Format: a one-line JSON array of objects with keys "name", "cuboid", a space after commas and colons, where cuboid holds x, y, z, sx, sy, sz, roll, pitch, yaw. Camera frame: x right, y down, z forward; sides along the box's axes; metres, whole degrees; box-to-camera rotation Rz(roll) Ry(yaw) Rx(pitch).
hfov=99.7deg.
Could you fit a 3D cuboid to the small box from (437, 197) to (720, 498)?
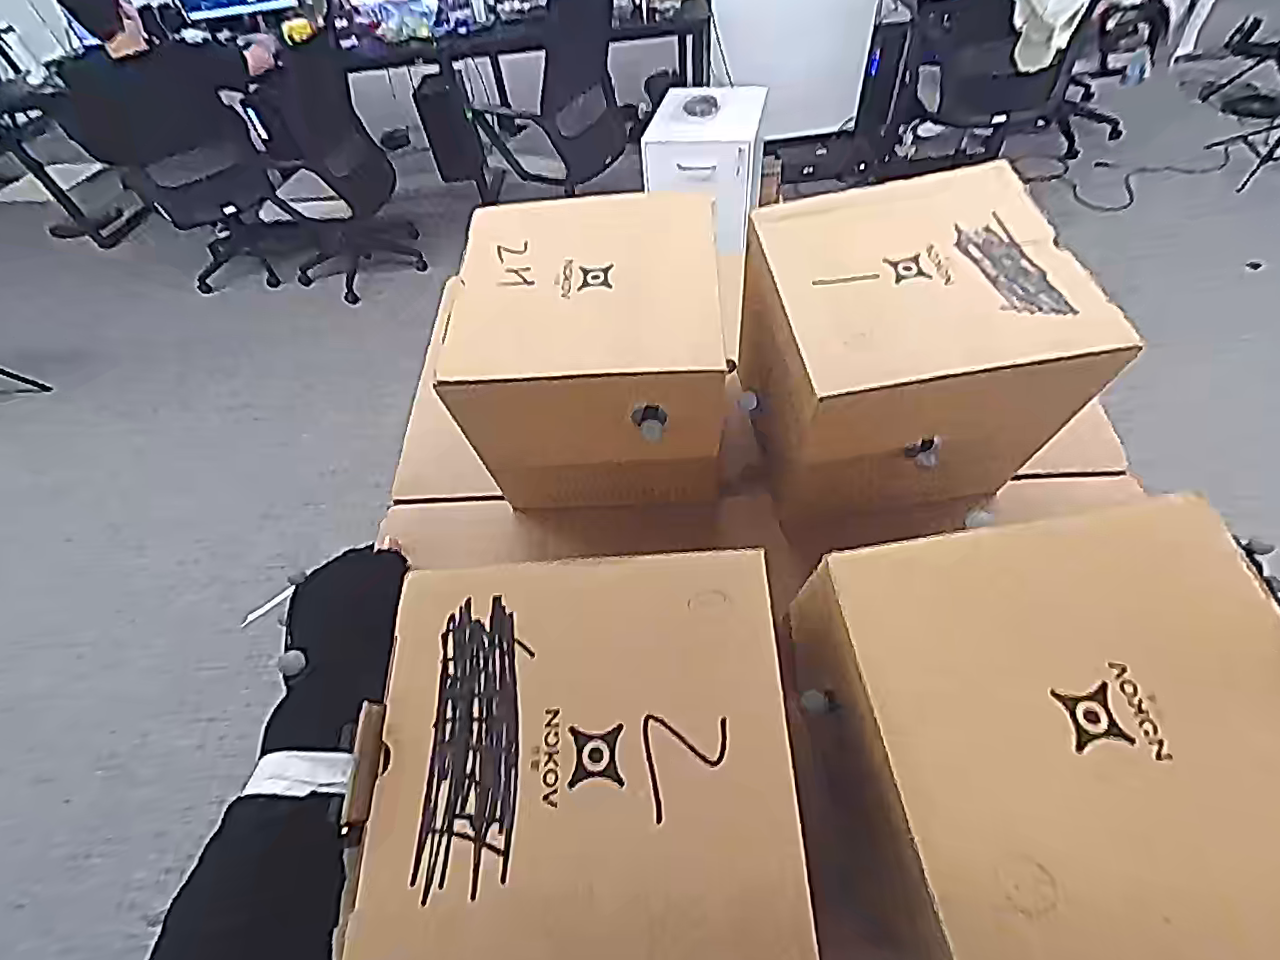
[{"name": "small box", "cuboid": [-0.030, -0.094, 0.433, 0.179, 0.176, 0.168, -2, 60, 6]}]
